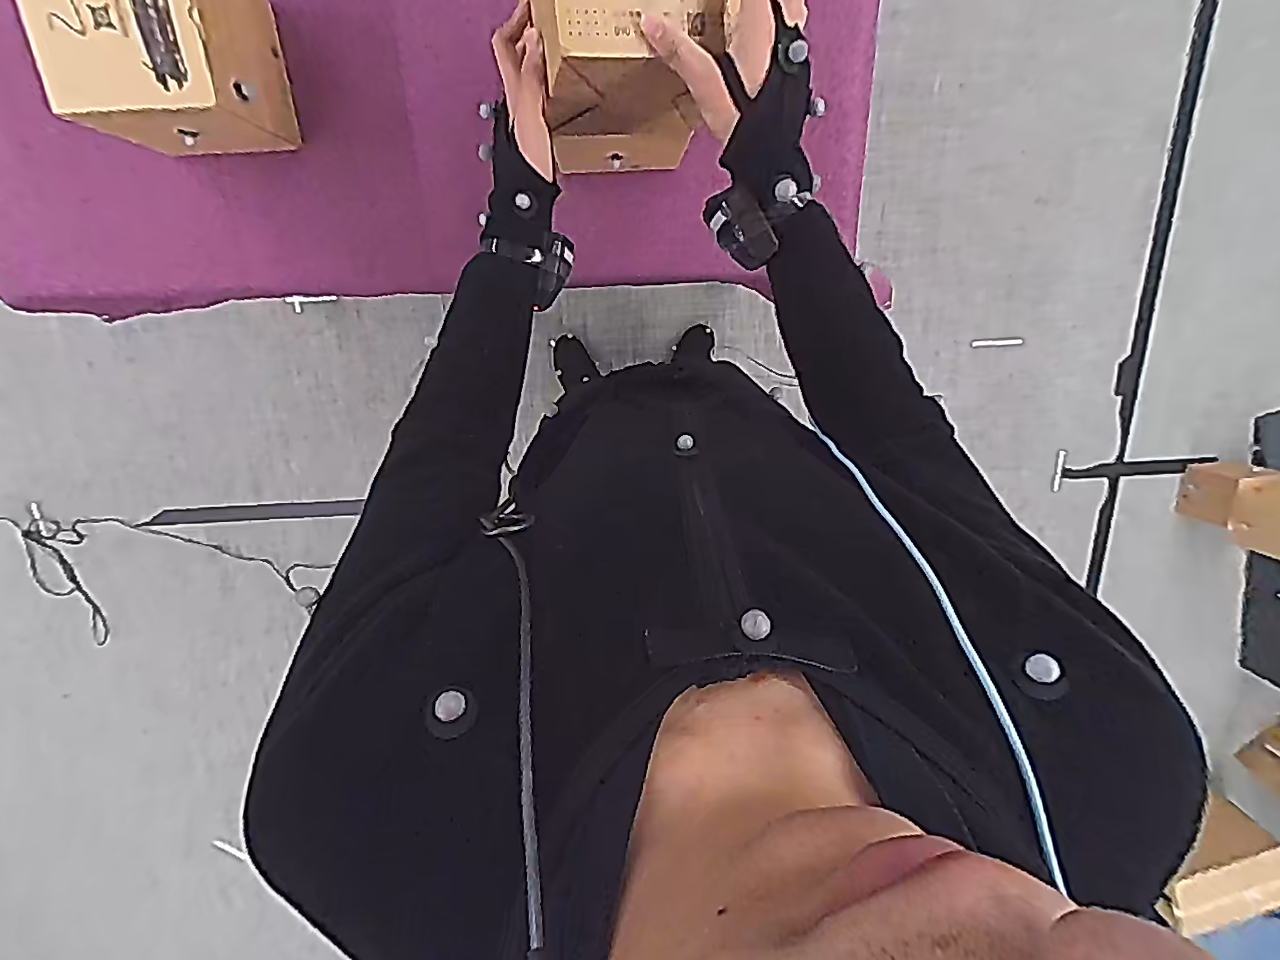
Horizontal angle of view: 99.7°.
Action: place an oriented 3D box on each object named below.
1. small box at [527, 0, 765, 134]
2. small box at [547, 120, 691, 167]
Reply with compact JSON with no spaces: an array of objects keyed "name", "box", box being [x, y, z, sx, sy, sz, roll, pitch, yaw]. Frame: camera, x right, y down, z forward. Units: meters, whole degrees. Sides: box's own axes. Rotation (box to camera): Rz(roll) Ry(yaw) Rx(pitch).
[{"name":"small box","box":[-0.007,-0.411,0.456,0.168,0.179,0.176,-10,109,-12]},{"name":"small box","box":[-0.029,-0.496,0.663,0.168,0.176,0.179,-3,107,-3]}]
